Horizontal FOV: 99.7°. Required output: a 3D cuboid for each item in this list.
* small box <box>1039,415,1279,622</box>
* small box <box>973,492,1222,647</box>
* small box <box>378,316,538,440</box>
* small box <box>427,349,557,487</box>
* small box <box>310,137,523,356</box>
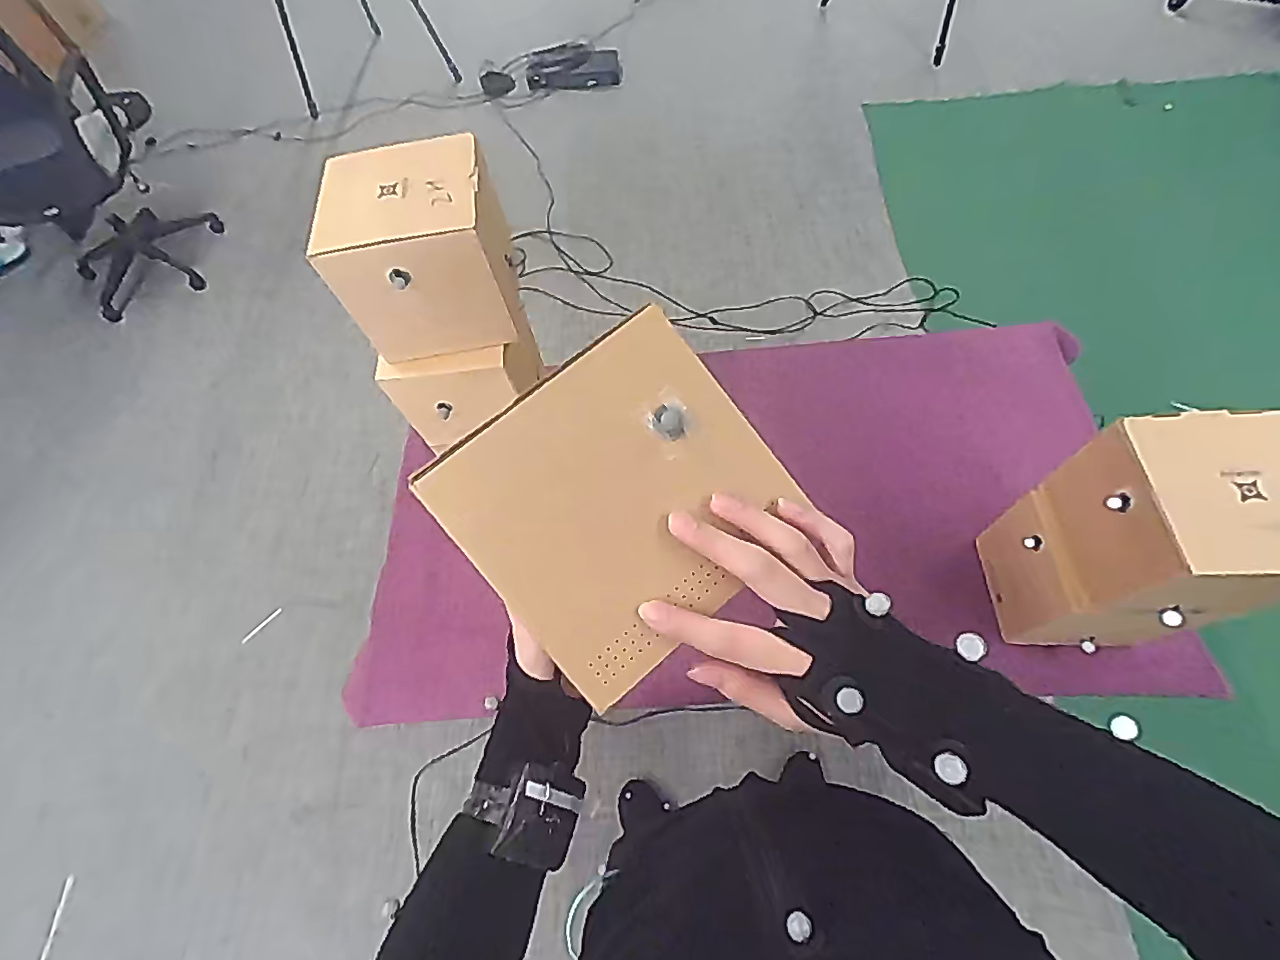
[{"bbox_3d":[0.586,0.047,0.595,0.168,0.176,0.179,-1,63,7],"label":"small box"},{"bbox_3d":[0.598,0.127,0.737,0.179,0.176,0.168,0,61,5],"label":"small box"},{"bbox_3d":[-0.248,-0.170,0.784,0.168,0.176,0.179,-6,62,2],"label":"small box"},{"bbox_3d":[-0.241,-0.101,0.930,0.179,0.176,0.168,-7,63,2],"label":"small box"},{"bbox_3d":[-0.251,-0.269,0.650,0.179,0.176,0.168,-9,63,0],"label":"small box"}]
